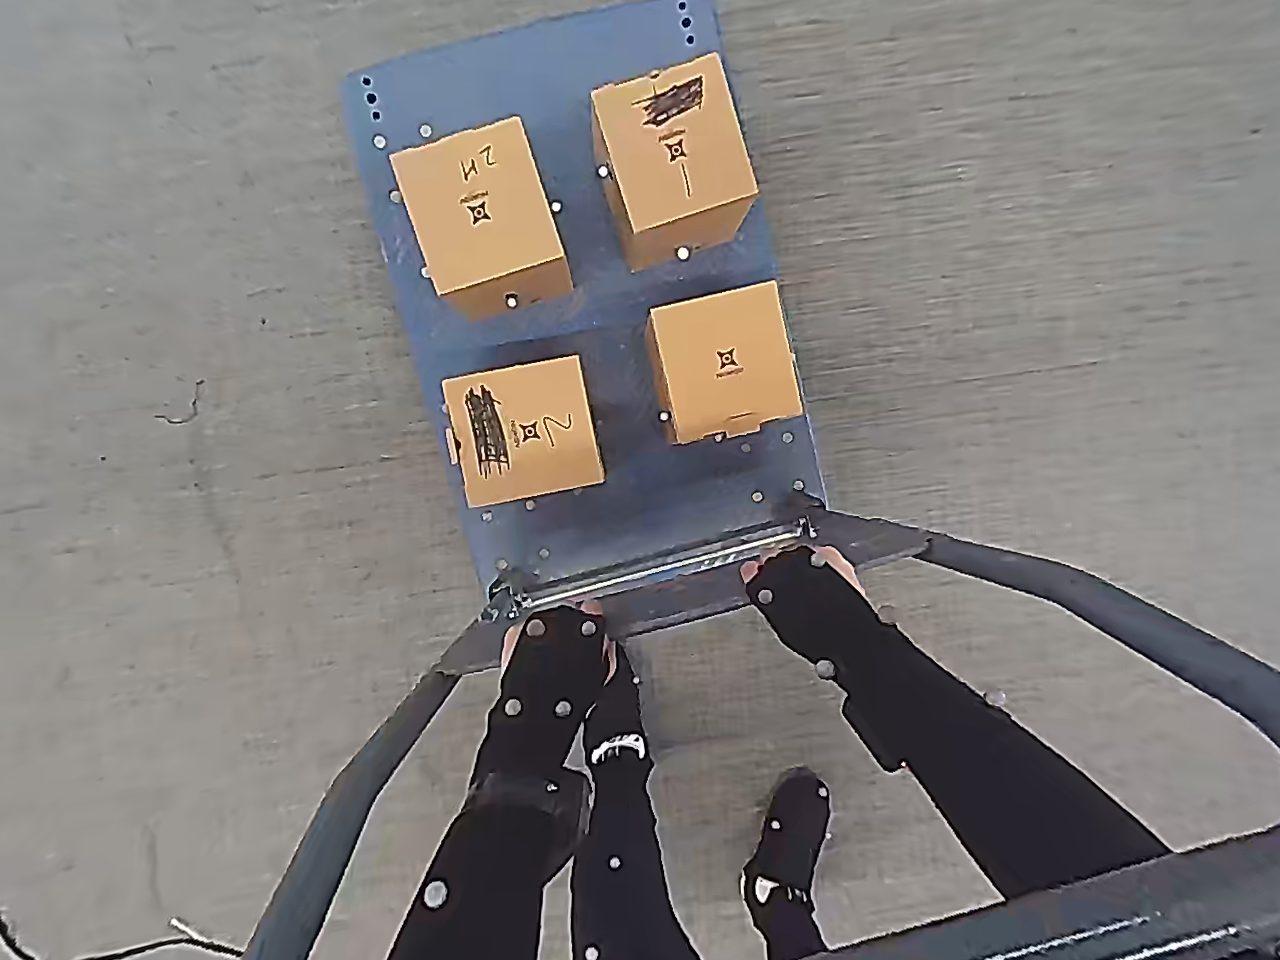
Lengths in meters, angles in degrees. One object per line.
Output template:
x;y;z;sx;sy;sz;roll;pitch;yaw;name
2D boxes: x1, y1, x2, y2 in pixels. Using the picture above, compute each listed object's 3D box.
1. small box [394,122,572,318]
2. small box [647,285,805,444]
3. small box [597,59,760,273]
-0.196;-0.332;0.734;0.168;0.176;0.179;-18;95;-2;small box
0.110;-0.150;0.762;0.168;0.176;0.179;-13;95;-2;small box
0.044;-0.412;0.739;0.168;0.176;0.179;-18;96;0;small box
